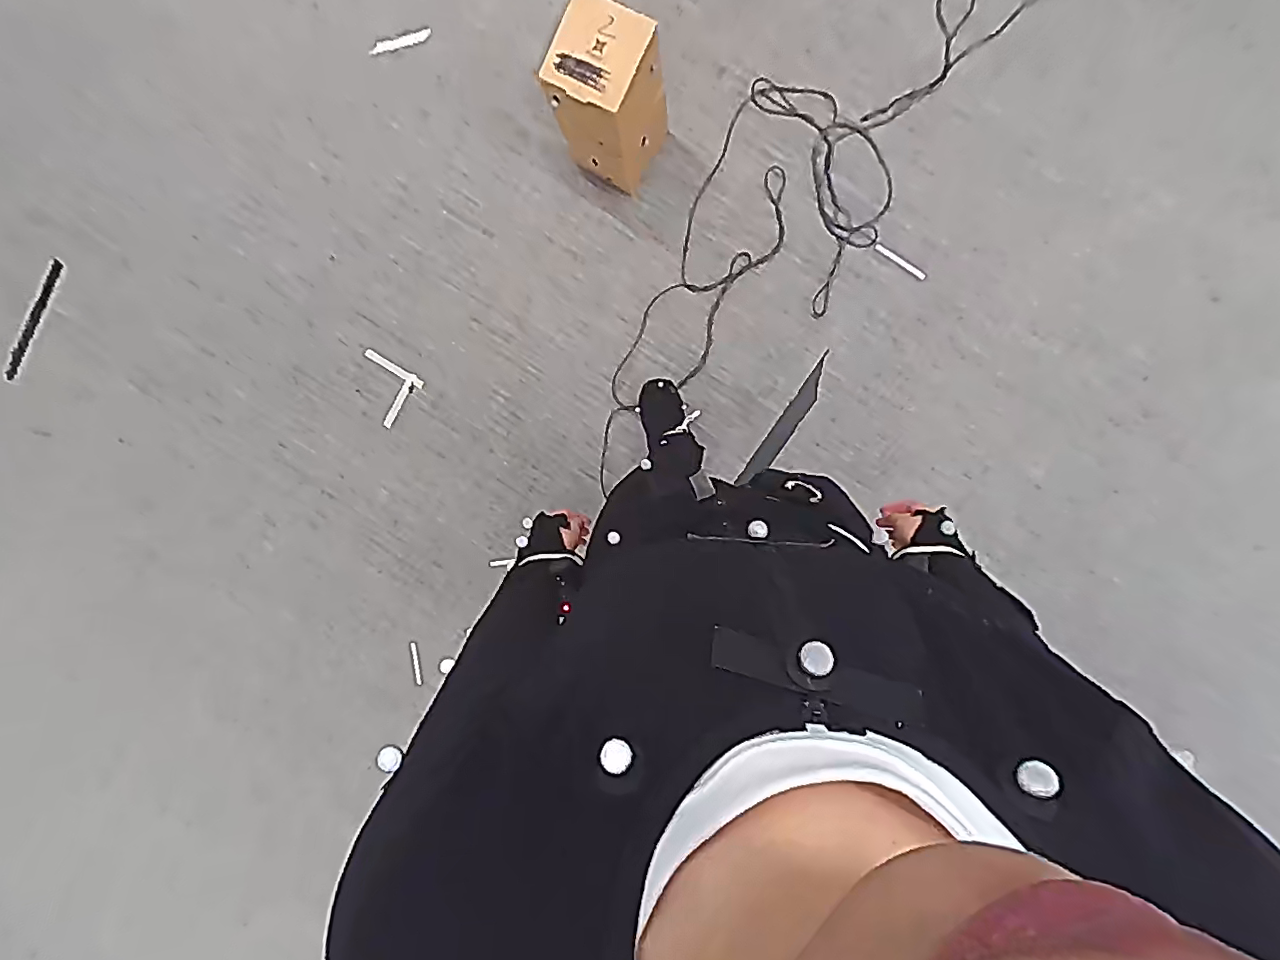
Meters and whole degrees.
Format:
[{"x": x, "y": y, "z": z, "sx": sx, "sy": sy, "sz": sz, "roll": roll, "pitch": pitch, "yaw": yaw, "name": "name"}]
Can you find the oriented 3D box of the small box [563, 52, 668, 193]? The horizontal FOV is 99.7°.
[{"x": -0.046, "y": -0.795, "z": 1.225, "sx": 0.168, "sy": 0.176, "sz": 0.179, "roll": 32, "pitch": 97, "yaw": 1, "name": "small box"}]
